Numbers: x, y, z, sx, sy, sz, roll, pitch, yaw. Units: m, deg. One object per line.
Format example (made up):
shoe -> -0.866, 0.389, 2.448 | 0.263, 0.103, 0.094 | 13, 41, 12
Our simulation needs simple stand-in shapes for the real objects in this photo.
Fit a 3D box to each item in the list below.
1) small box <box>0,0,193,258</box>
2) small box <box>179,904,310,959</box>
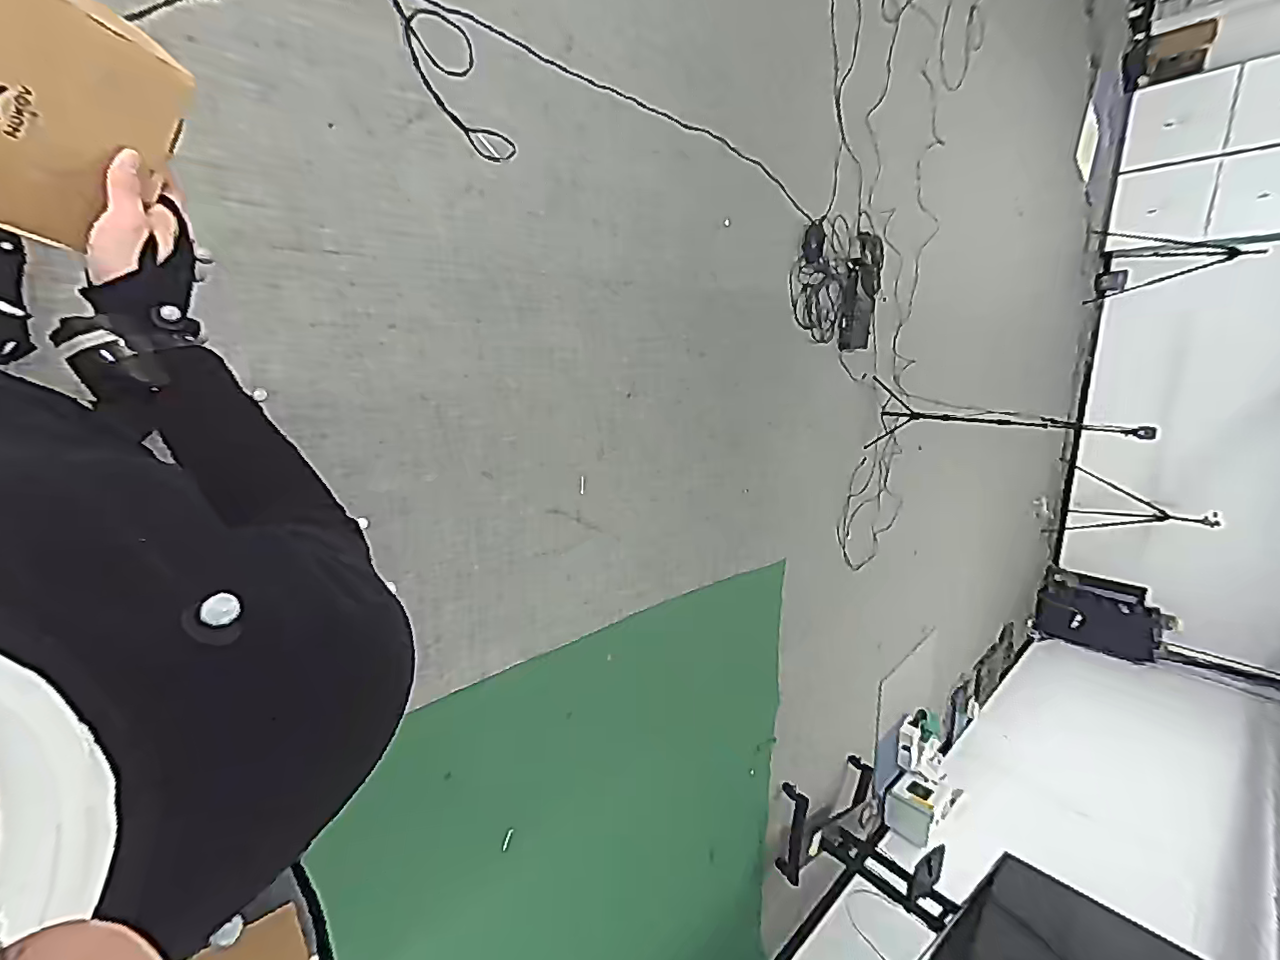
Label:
small box -> -0.484, -0.304, 0.396 | 0.168, 0.176, 0.179 | -56, 152, 12
small box -> -0.549, 0.745, 0.731 | 0.179, 0.176, 0.168 | -8, 107, -42
